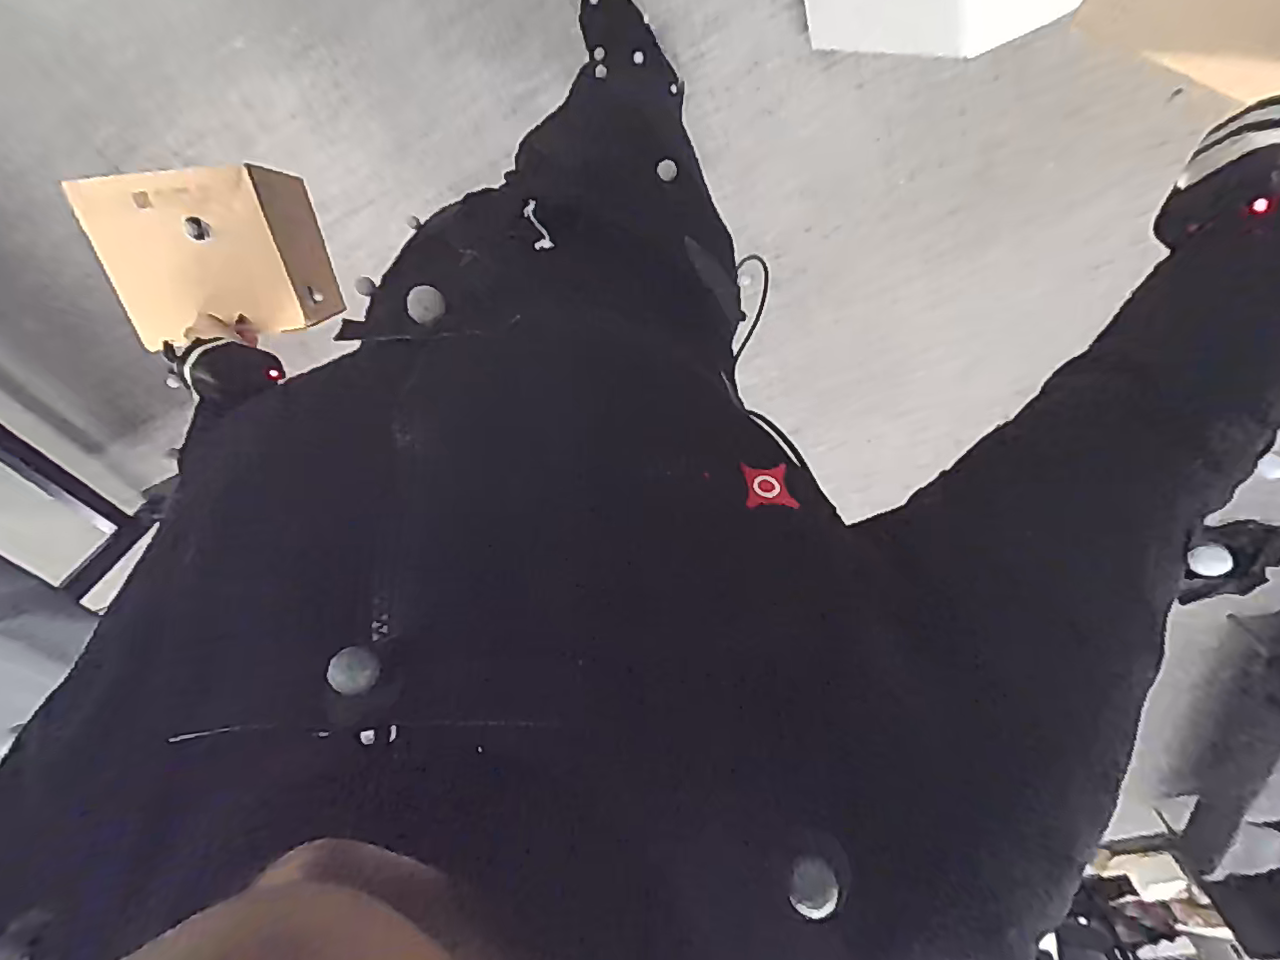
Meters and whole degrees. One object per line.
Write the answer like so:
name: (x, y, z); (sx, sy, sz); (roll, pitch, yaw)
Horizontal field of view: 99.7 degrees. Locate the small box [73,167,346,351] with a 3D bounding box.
small box: (-0.477, -0.261, 0.633); (0.168, 0.179, 0.176); (-11, 116, -9)
